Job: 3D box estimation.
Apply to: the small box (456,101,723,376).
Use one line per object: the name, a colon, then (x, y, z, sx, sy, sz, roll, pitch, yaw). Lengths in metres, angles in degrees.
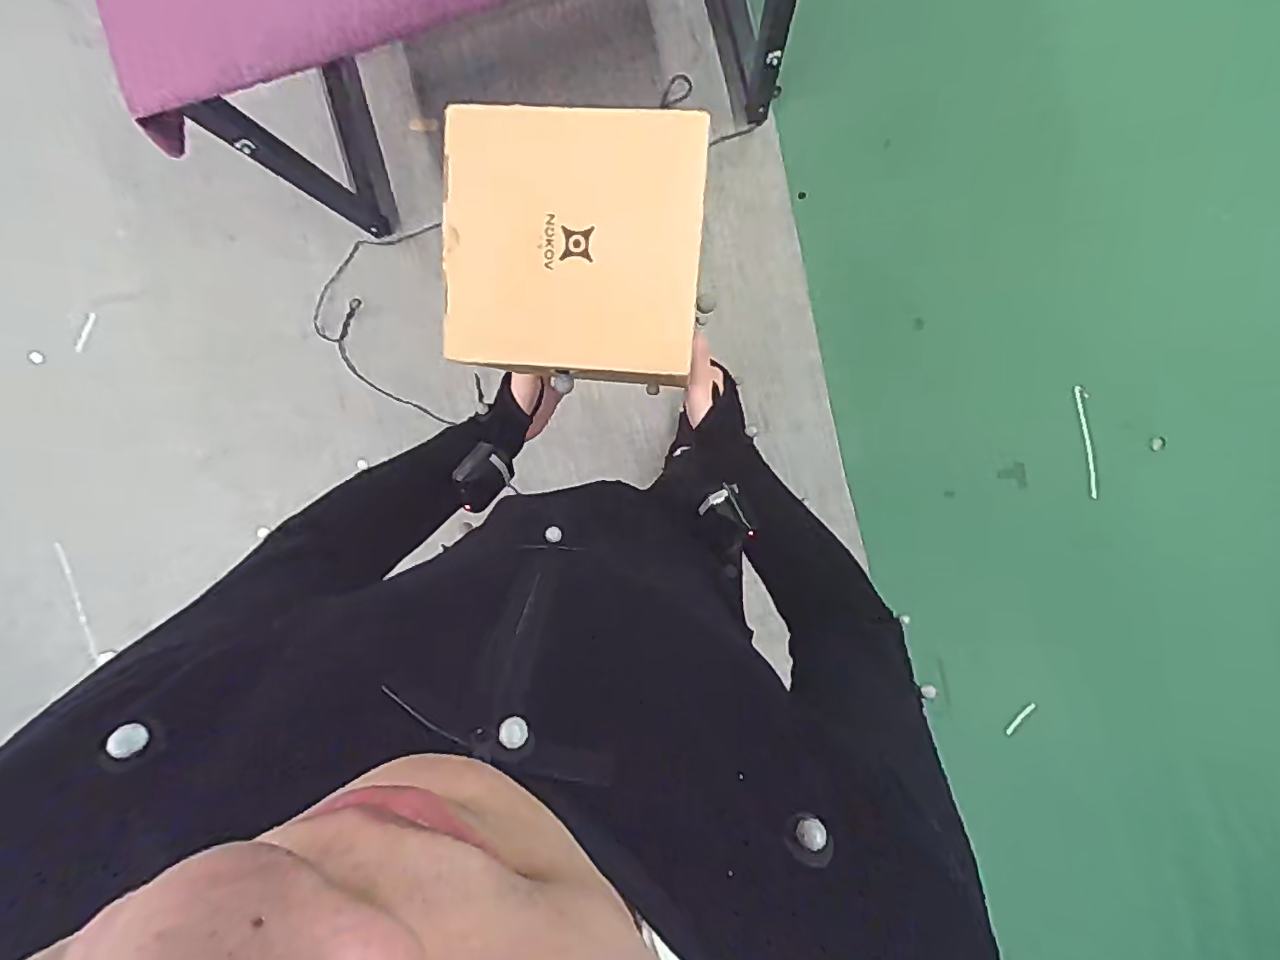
small box: (-0.032, -0.173, 0.438, 0.179, 0.176, 0.168, 4, 99, 5)
